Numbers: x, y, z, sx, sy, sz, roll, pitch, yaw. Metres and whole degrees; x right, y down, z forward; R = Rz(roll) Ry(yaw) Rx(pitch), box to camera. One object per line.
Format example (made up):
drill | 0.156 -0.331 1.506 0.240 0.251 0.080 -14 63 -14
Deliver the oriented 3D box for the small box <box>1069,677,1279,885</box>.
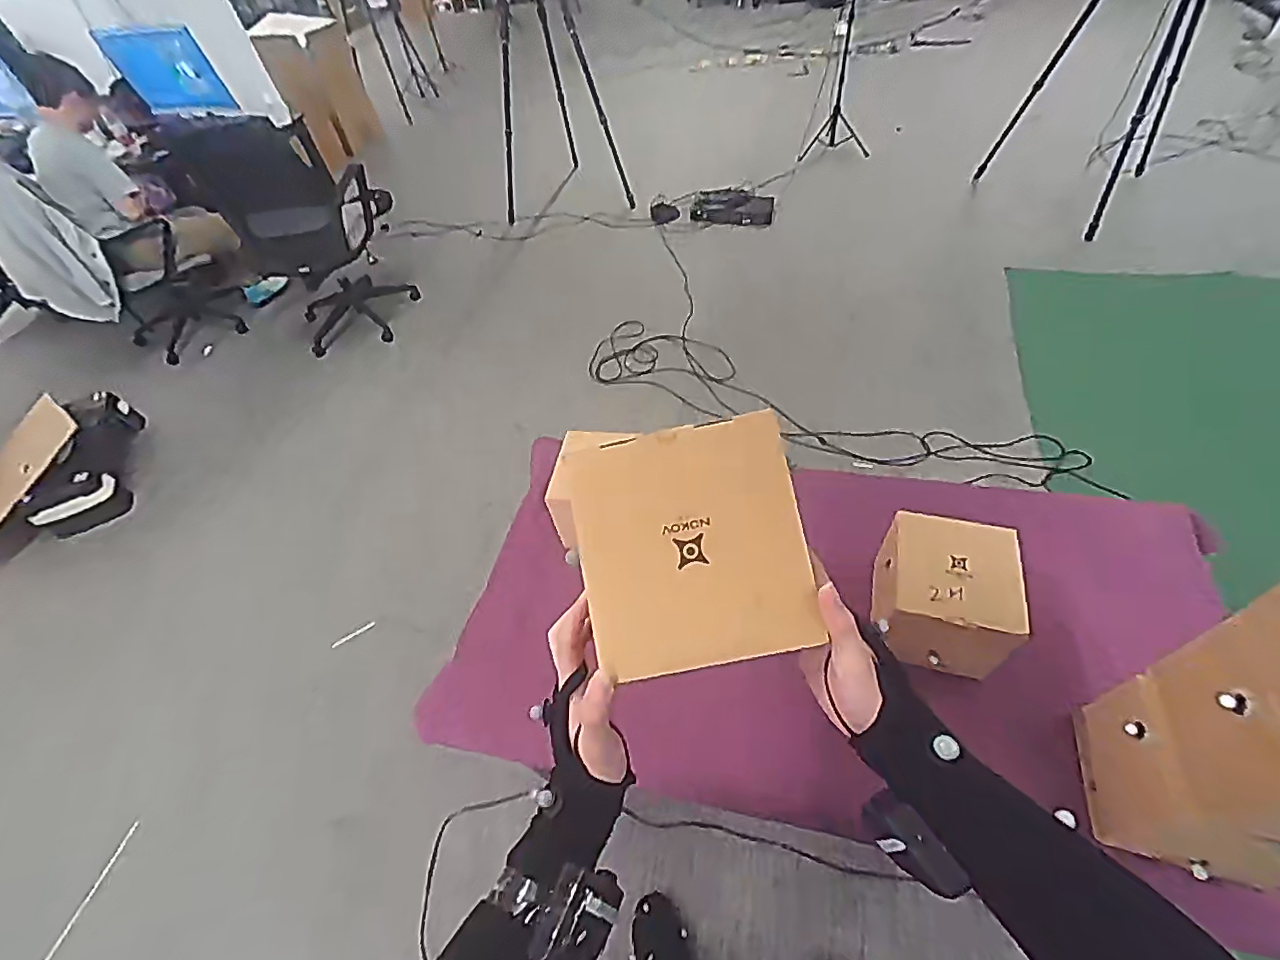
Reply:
small box | 0.675 0.368 0.658 0.179 0.176 0.168 10 52 16

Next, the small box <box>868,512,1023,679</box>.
small box | 0.461 0.180 0.840 0.168 0.176 0.179 10 54 16

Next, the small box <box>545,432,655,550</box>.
small box | -0.059 0.029 1.031 0.179 0.176 0.168 3 52 11

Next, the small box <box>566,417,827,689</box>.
small box | 0.045 0.062 0.474 0.168 0.176 0.179 -12 80 3
